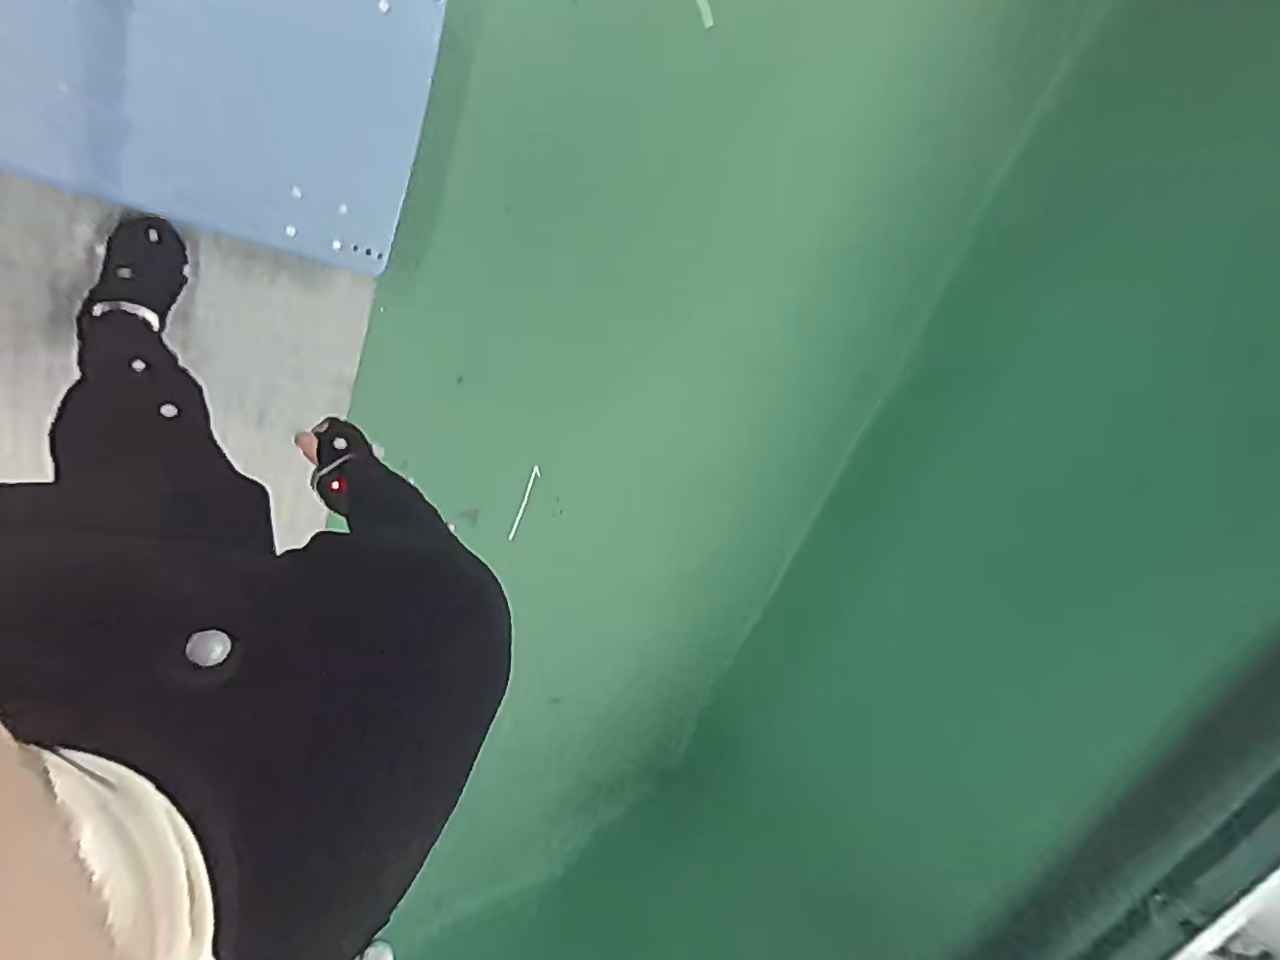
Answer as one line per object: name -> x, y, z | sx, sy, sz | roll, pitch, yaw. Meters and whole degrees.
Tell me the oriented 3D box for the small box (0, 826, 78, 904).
small box -> -1.624, 1.059, 1.433 | 0.168, 0.176, 0.179 | 8, 113, -48
